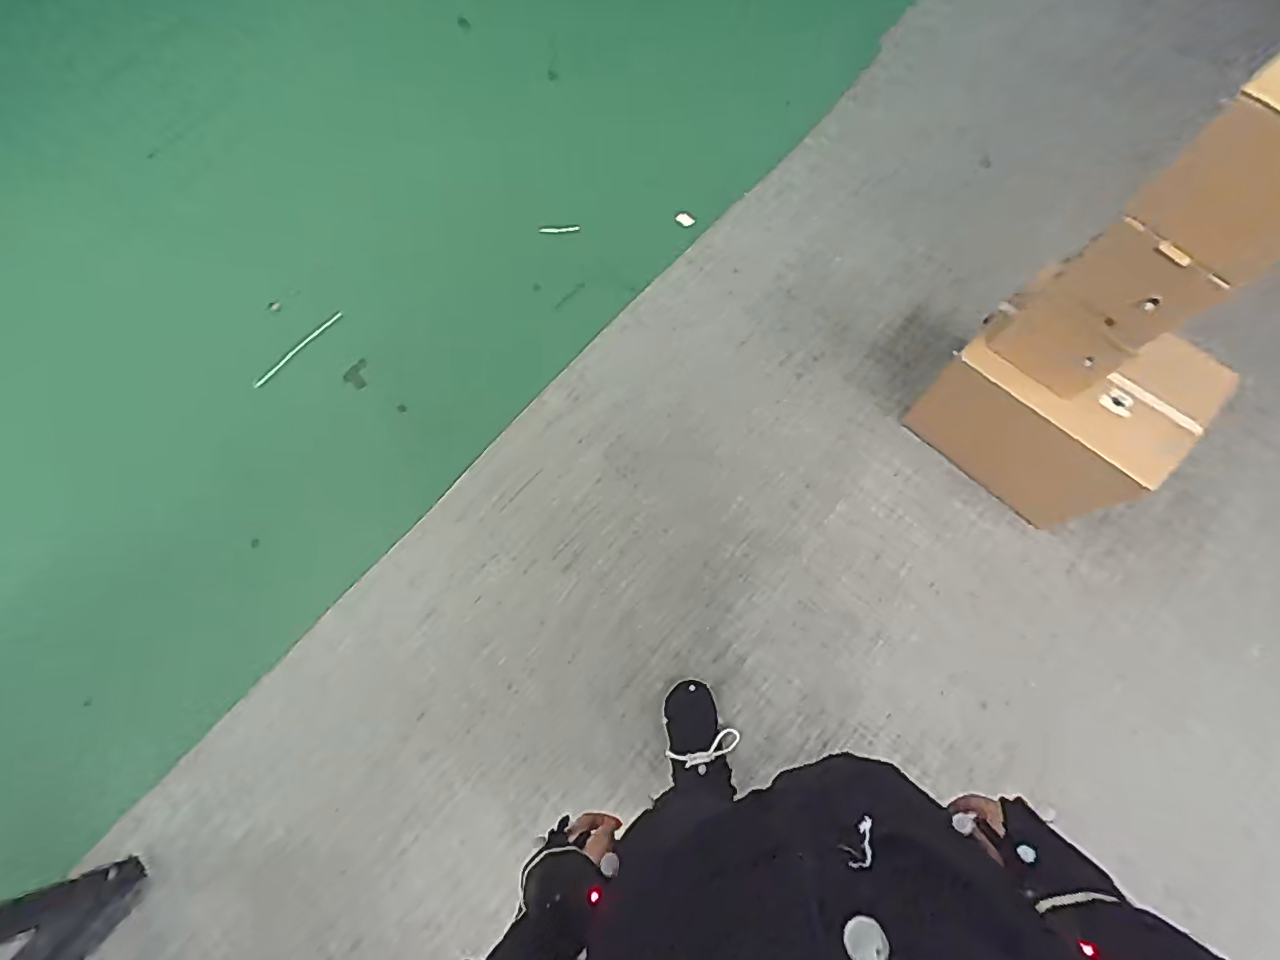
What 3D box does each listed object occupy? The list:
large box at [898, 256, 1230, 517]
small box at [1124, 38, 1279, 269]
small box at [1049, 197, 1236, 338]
[{"bbox_3d":[0.868,-0.187,1.176,0.408,0.320,0.320,43,81,14],"label":"large box"},{"bbox_3d":[0.759,-0.396,0.651,0.168,0.176,0.179,-40,77,-9],"label":"small box"},{"bbox_3d":[0.768,-0.347,0.806,0.179,0.176,0.168,-41,77,-10],"label":"small box"}]
